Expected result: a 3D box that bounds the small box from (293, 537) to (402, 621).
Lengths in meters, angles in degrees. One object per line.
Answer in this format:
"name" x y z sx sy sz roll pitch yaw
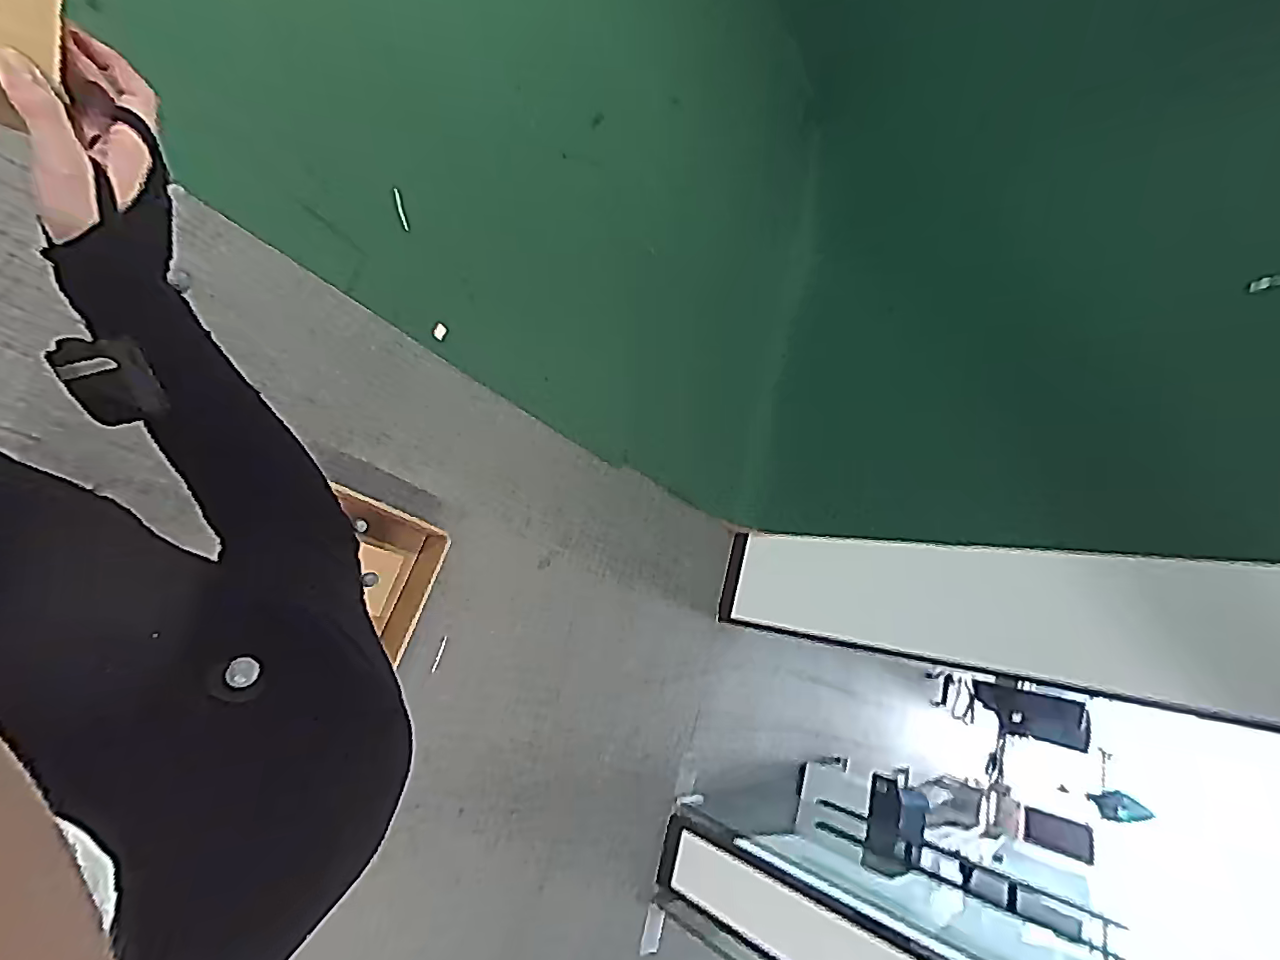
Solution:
"small box" -0.768 0.254 1.414 0.179 0.176 0.168 33 68 -40
